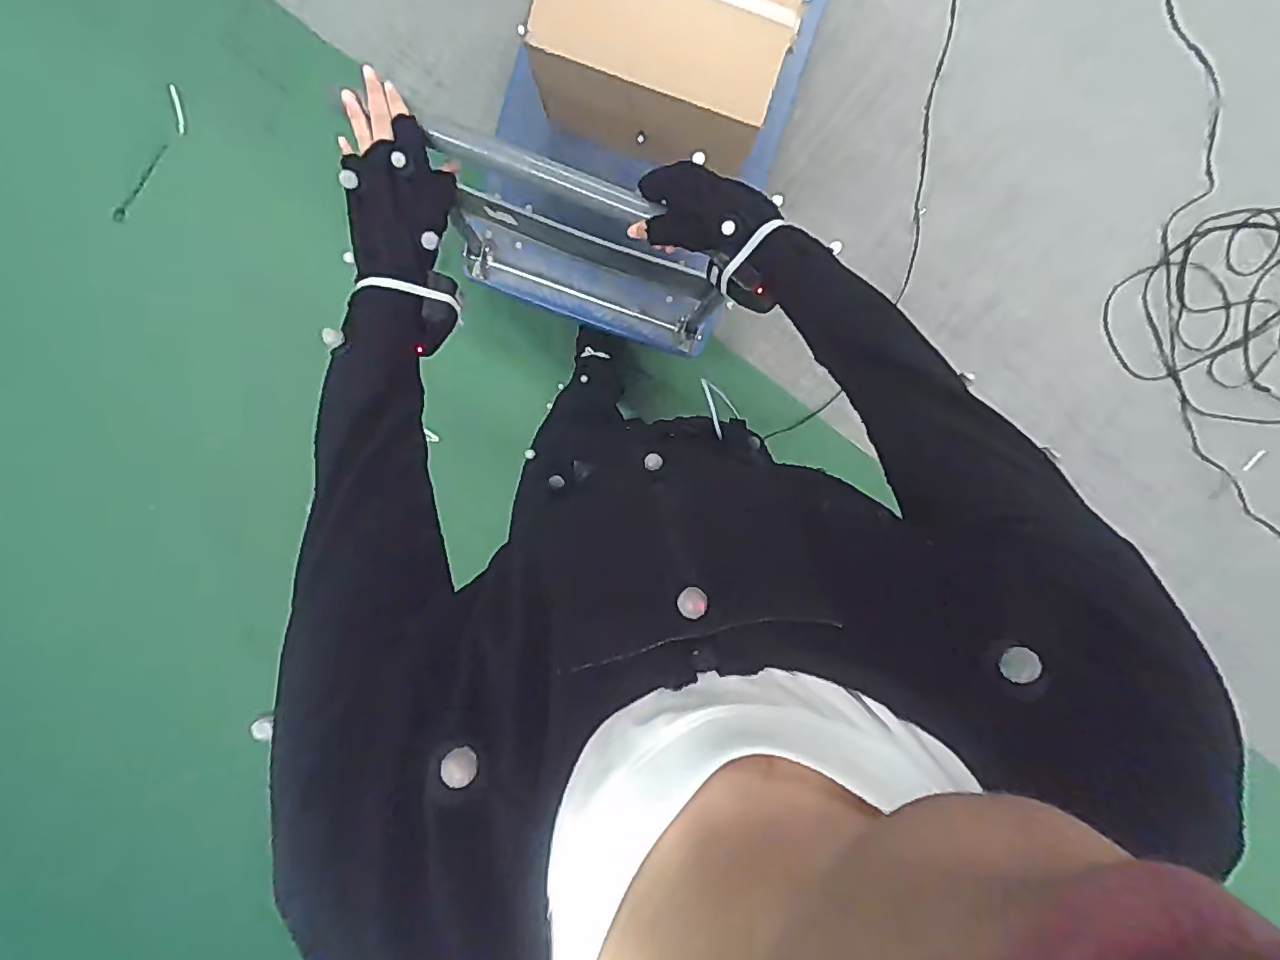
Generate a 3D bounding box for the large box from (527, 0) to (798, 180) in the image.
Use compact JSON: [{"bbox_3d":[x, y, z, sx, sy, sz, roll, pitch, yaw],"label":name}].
[{"bbox_3d":[0.053,-0.814,0.991,0.408,0.320,0.320,17,100,-4],"label":"large box"}]
